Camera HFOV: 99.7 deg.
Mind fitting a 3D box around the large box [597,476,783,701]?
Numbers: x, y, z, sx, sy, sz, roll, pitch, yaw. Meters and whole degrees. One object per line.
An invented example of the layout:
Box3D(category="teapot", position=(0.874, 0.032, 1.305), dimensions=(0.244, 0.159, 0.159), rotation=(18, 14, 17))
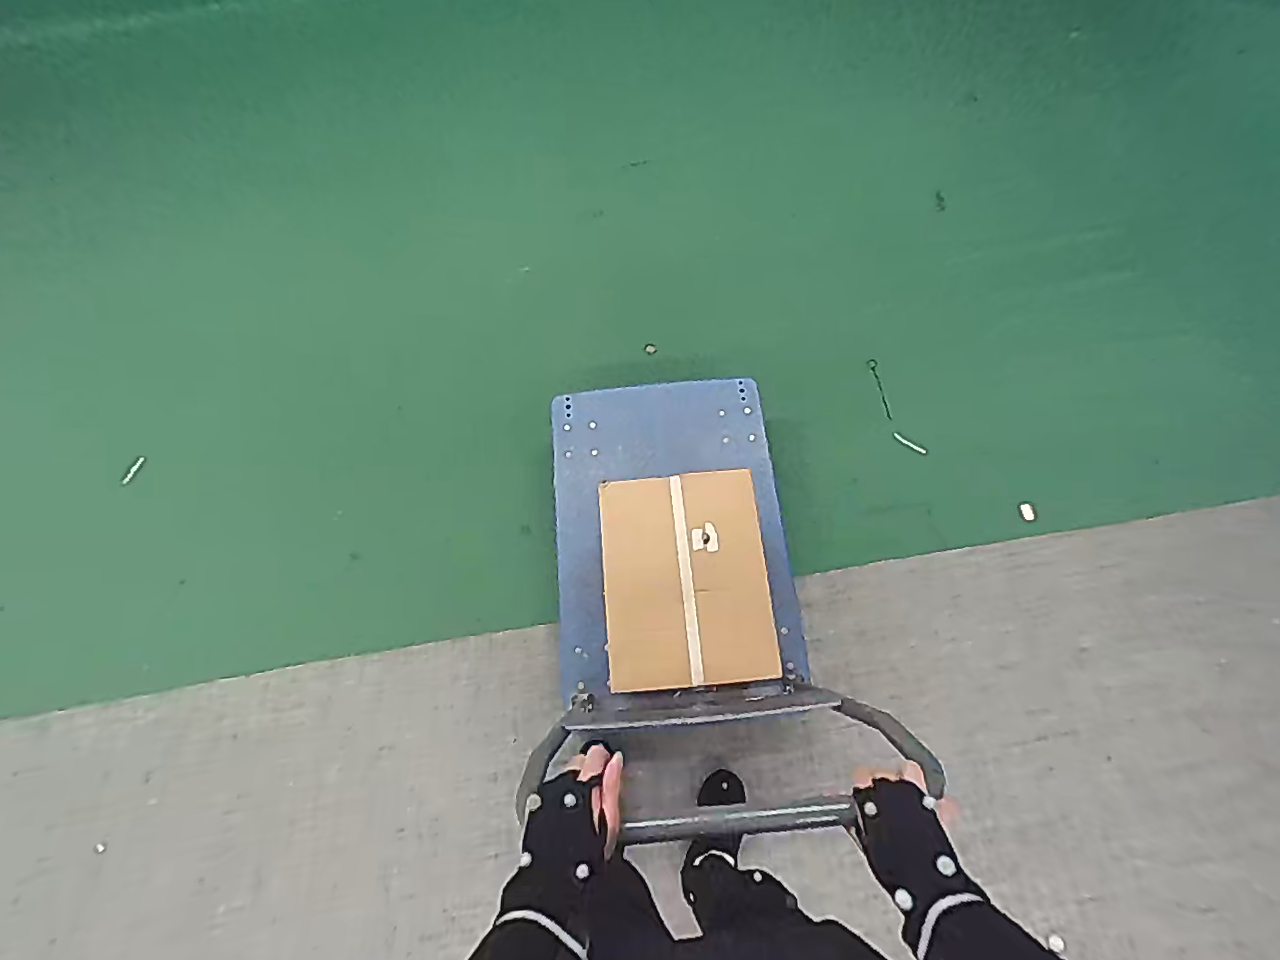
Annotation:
Box3D(category="large box", position=(0.092, 0.243, 1.172), dimensions=(0.320, 0.320, 0.408), rotation=(-6, 71, 0))
